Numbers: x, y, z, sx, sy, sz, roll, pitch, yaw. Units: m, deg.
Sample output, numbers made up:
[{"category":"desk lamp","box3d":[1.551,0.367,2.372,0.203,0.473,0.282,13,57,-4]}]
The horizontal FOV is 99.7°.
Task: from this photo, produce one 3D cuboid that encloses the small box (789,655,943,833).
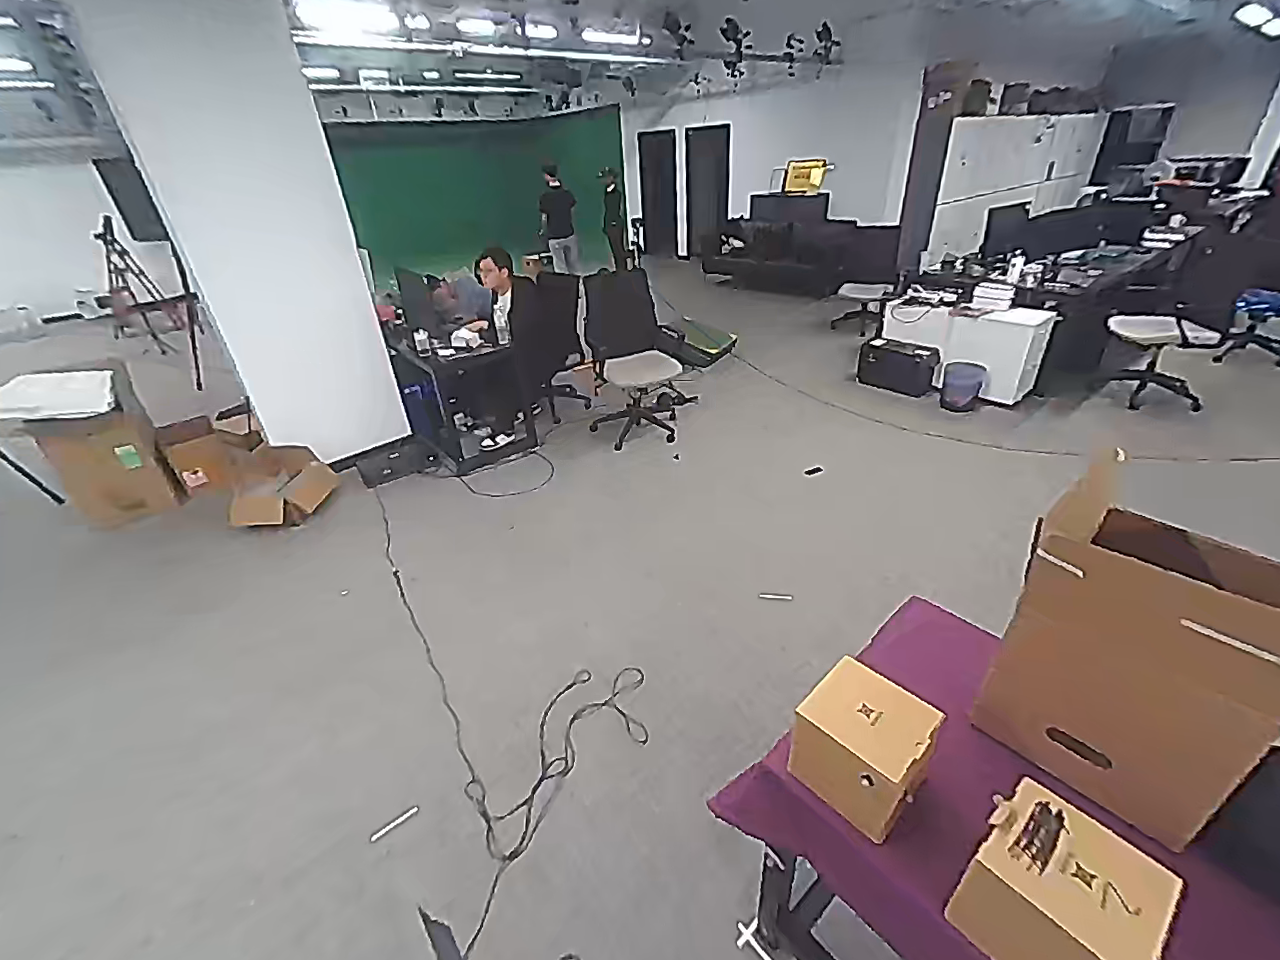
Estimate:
[{"category":"small box","box3d":[0.372,0.443,0.917,0.168,0.176,0.179,-27,40,-34]}]
